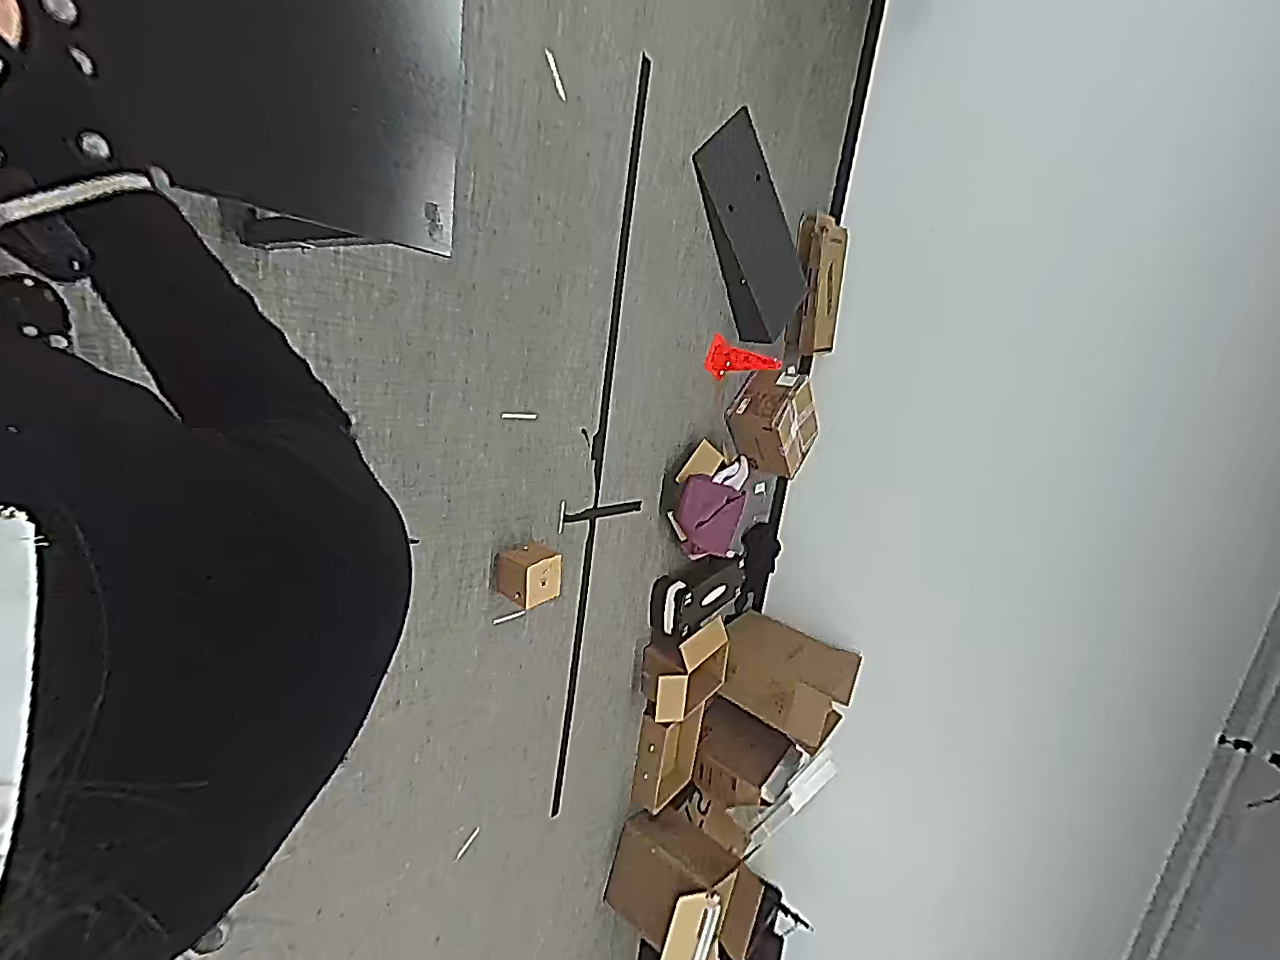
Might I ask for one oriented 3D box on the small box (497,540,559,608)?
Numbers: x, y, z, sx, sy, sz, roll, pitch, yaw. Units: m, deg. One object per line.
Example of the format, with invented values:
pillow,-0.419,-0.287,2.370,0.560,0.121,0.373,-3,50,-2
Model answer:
small box,-0.425,0.348,2.034,0.168,0.176,0.179,-16,117,-49
